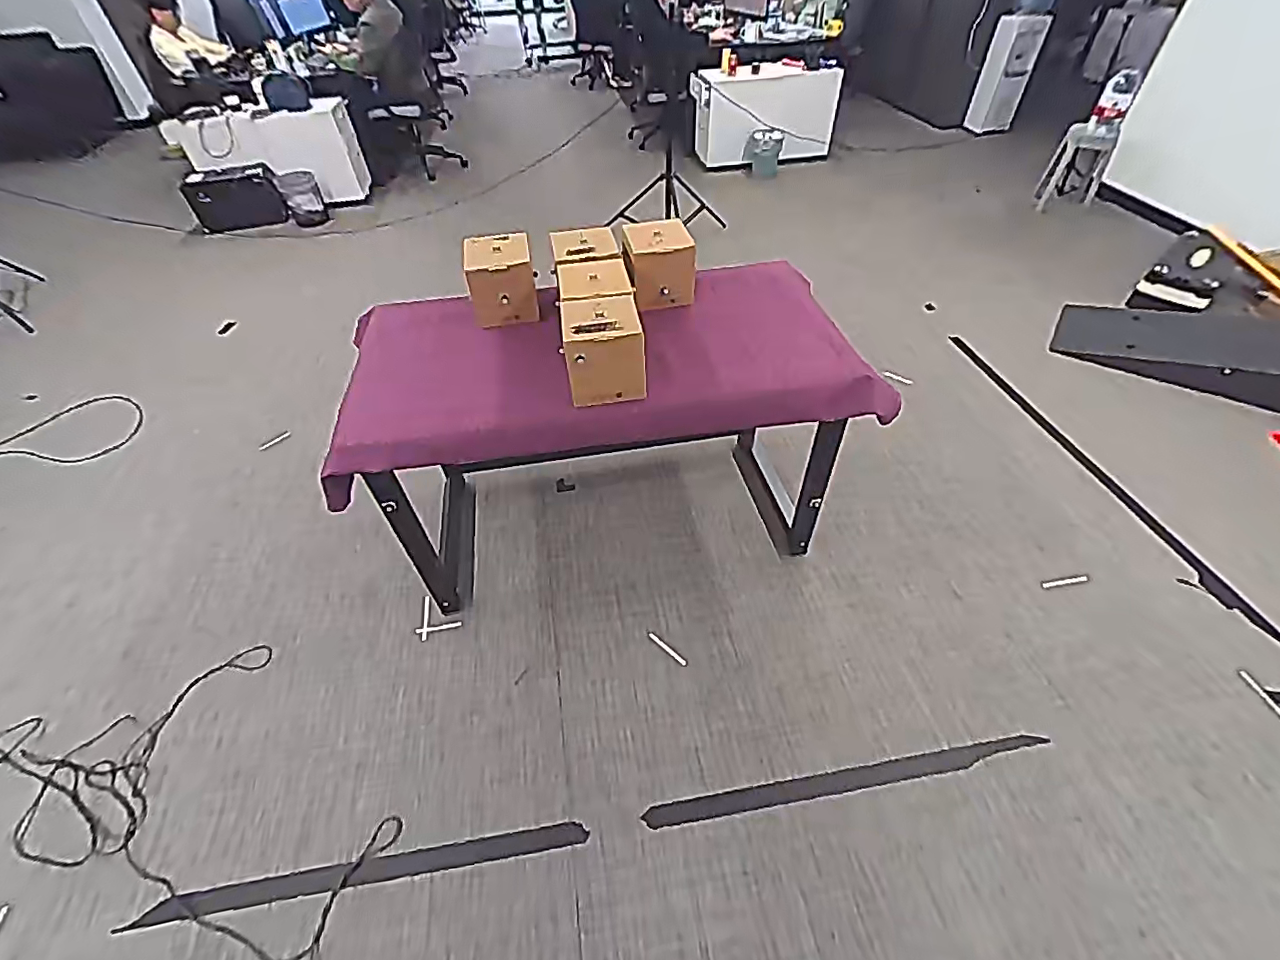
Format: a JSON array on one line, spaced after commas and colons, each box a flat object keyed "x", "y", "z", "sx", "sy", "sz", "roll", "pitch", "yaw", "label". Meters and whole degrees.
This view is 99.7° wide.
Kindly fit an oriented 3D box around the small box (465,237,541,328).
[{"x": -0.364, "y": -0.523, "z": 1.451, "sx": 0.168, "sy": 0.176, "sz": 0.179, "roll": -9, "pitch": 50, "yaw": -6, "label": "small box"}]
